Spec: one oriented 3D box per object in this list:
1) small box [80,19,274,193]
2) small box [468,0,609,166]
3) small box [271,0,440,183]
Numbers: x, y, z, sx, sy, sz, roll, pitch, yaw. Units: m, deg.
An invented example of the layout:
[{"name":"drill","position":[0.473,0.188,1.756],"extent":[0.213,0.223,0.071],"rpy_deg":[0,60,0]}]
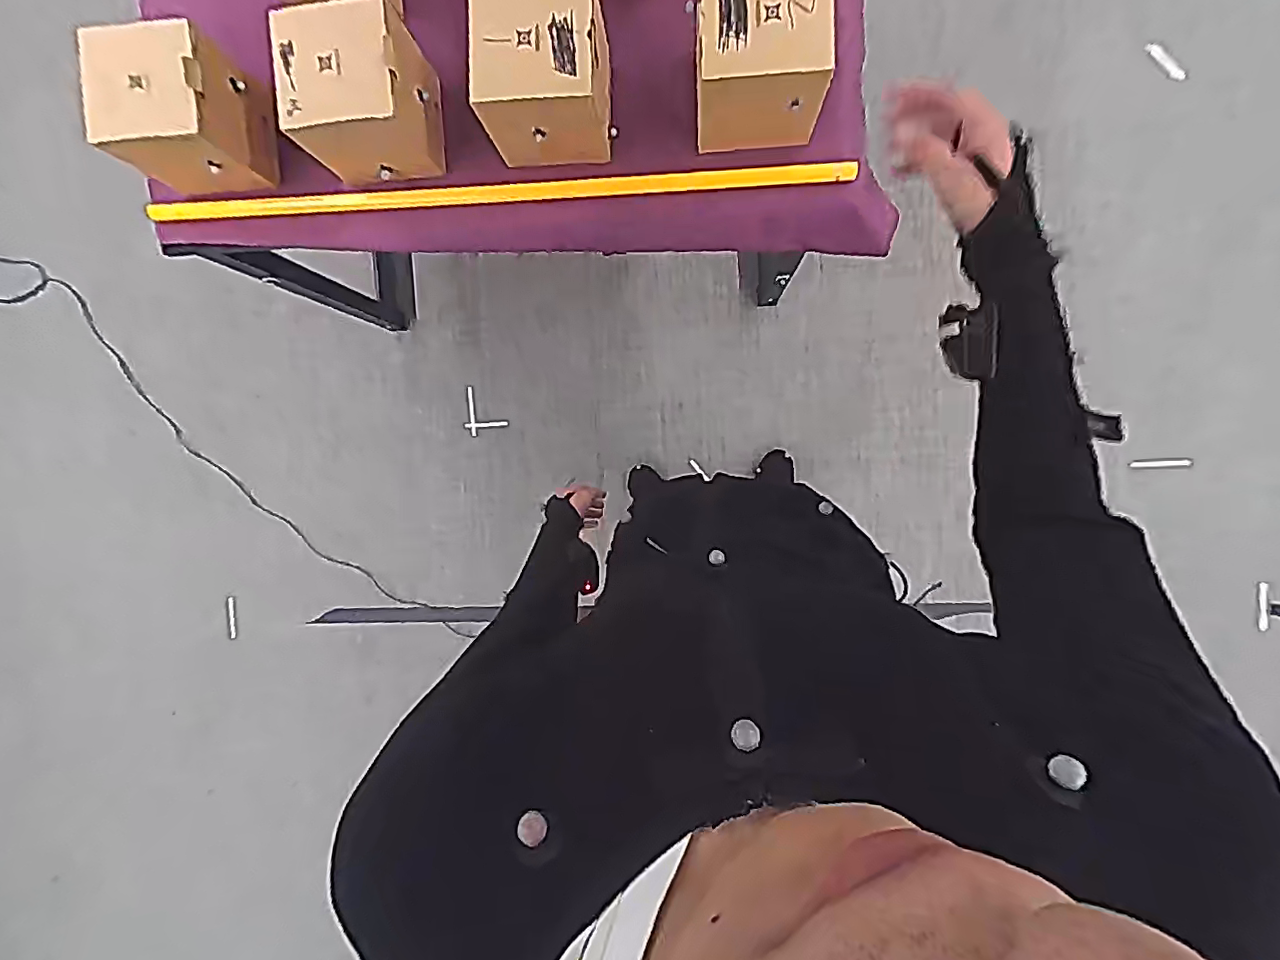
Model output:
[{"name":"small box","position":[-0.721,-0.584,0.866],"extent":[0.179,0.176,0.168],"rpy_deg":[-2,92,3]},{"name":"small box","position":[-0.143,-0.601,0.816],"extent":[0.179,0.176,0.168],"rpy_deg":[1,92,6]},{"name":"small box","position":[-0.426,-0.590,0.842],"extent":[0.179,0.176,0.168],"rpy_deg":[-3,93,4]}]
